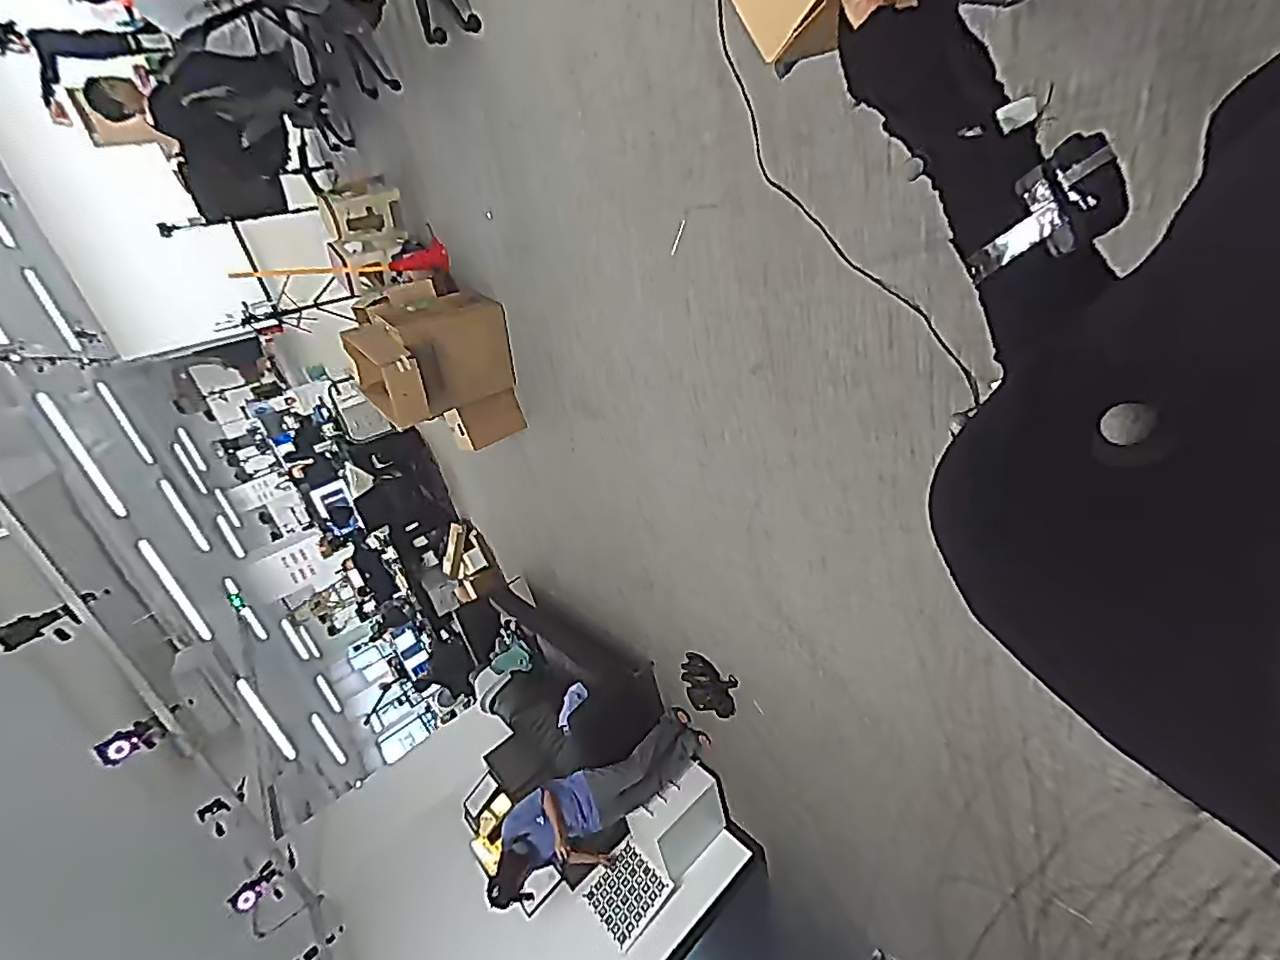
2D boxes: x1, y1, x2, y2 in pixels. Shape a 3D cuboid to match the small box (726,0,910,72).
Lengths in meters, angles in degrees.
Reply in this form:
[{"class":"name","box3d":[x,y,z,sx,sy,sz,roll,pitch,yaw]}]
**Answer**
[{"class":"small box","box3d":[0.150,-0.449,0.384,0.179,0.176,0.168,58,154,-4]}]
